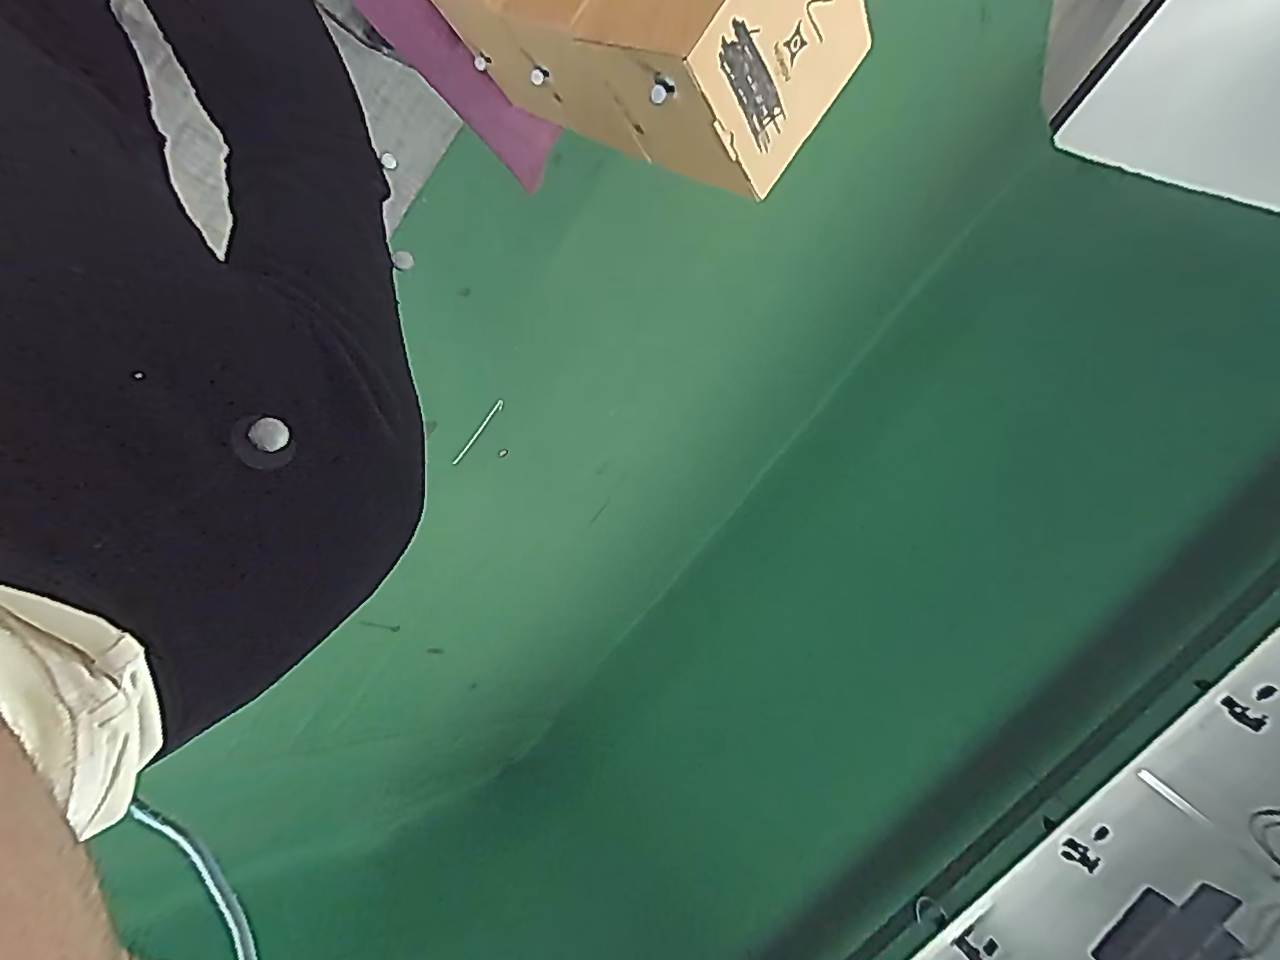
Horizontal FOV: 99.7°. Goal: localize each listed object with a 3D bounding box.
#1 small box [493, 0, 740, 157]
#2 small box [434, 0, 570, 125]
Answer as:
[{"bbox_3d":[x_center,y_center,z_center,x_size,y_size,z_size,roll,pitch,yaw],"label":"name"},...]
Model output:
[{"bbox_3d":[-0.027,-0.508,0.595,0.179,0.176,0.168,-50,147,6],"label":"small box"},{"bbox_3d":[-0.132,-0.602,0.679,0.168,0.176,0.179,-51,149,6],"label":"small box"}]
